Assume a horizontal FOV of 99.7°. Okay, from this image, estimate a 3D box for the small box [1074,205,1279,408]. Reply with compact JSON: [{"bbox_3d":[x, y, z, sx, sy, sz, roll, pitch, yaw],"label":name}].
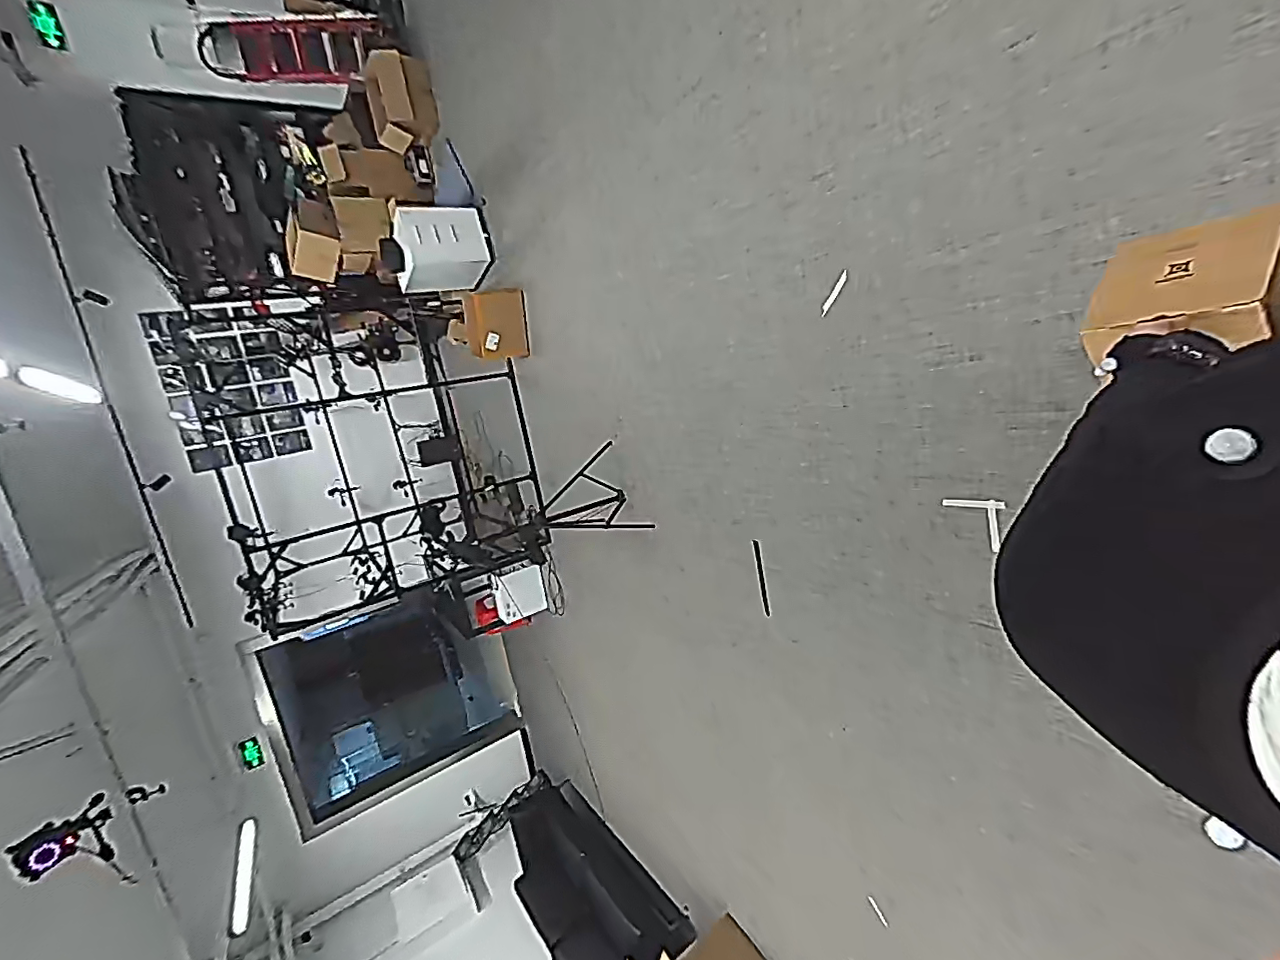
[{"bbox_3d":[0.718,-0.208,0.708,0.176,0.179,0.168,42,161,-26],"label":"small box"}]
